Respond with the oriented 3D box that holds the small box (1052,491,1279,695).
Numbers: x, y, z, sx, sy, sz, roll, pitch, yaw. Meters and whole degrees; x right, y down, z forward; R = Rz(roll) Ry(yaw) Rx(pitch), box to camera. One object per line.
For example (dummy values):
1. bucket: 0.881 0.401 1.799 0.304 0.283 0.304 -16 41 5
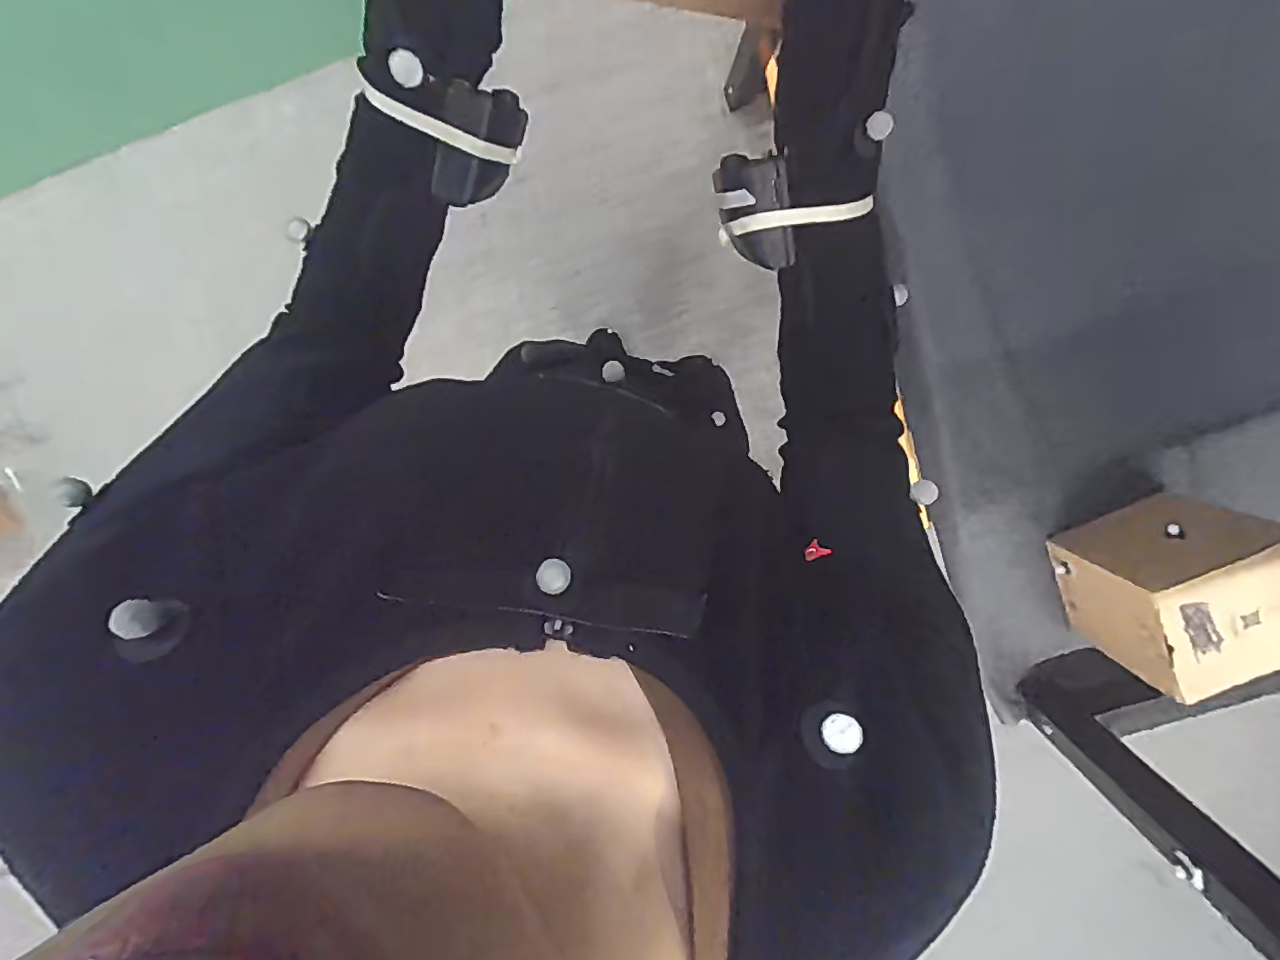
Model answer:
1. small box: 0.684 0.136 0.704 0.179 0.176 0.168 -25 104 5
